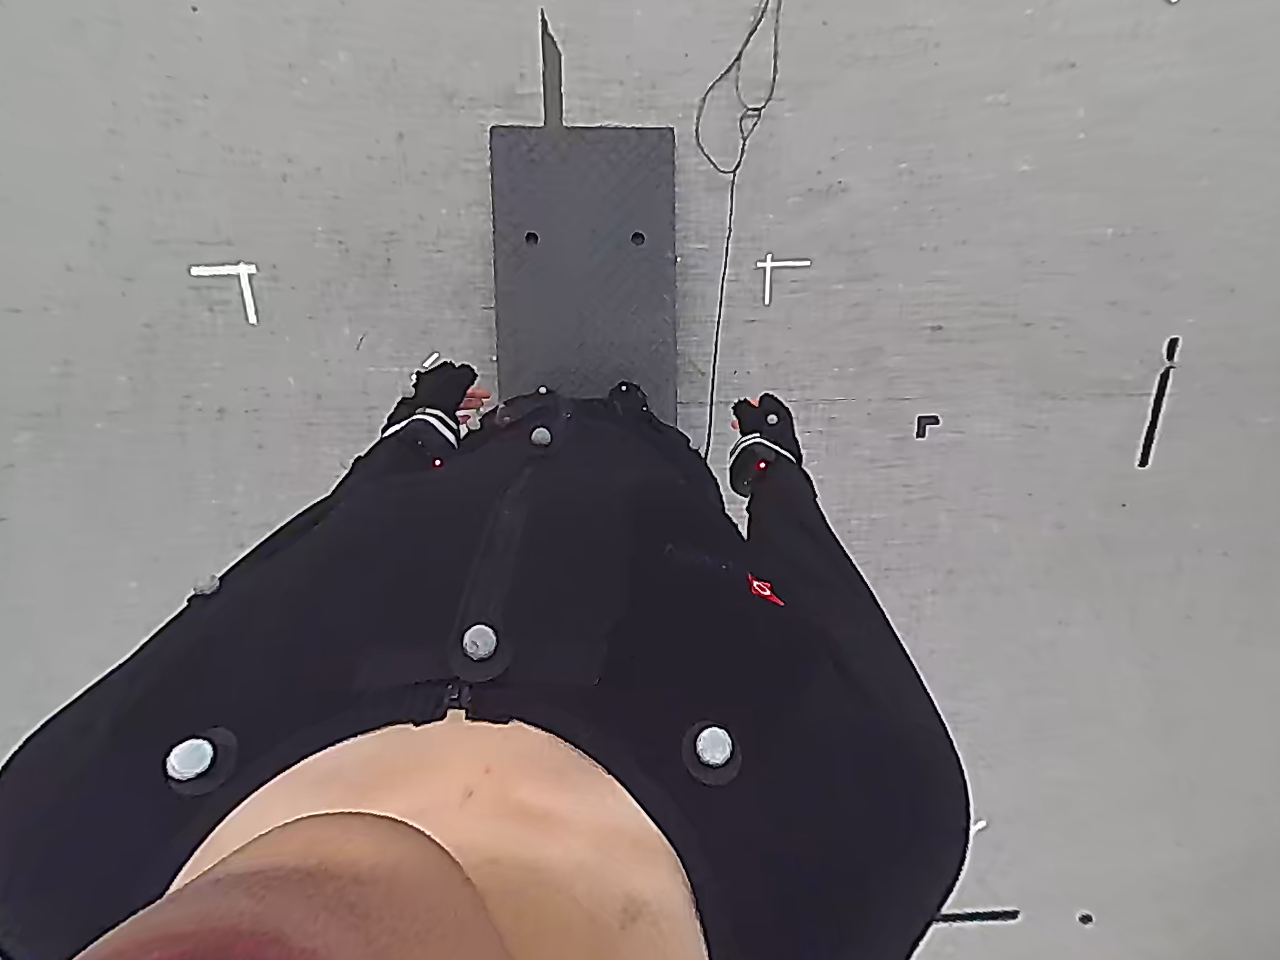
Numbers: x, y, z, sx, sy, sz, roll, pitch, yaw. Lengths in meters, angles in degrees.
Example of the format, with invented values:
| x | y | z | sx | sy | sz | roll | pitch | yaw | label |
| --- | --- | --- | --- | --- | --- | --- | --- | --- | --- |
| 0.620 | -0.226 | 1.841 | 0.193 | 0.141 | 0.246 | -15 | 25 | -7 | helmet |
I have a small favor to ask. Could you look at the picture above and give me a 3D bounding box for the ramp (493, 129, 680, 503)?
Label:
| x | y | z | sx | sy | sz | roll | pitch | yaw | label |
| --- | --- | --- | --- | --- | --- | --- | --- | --- | --- |
| -0.142 | -0.436 | 1.469 | 0.509 | 0.206 | 0.991 | -2 | 103 | -1 | ramp |
